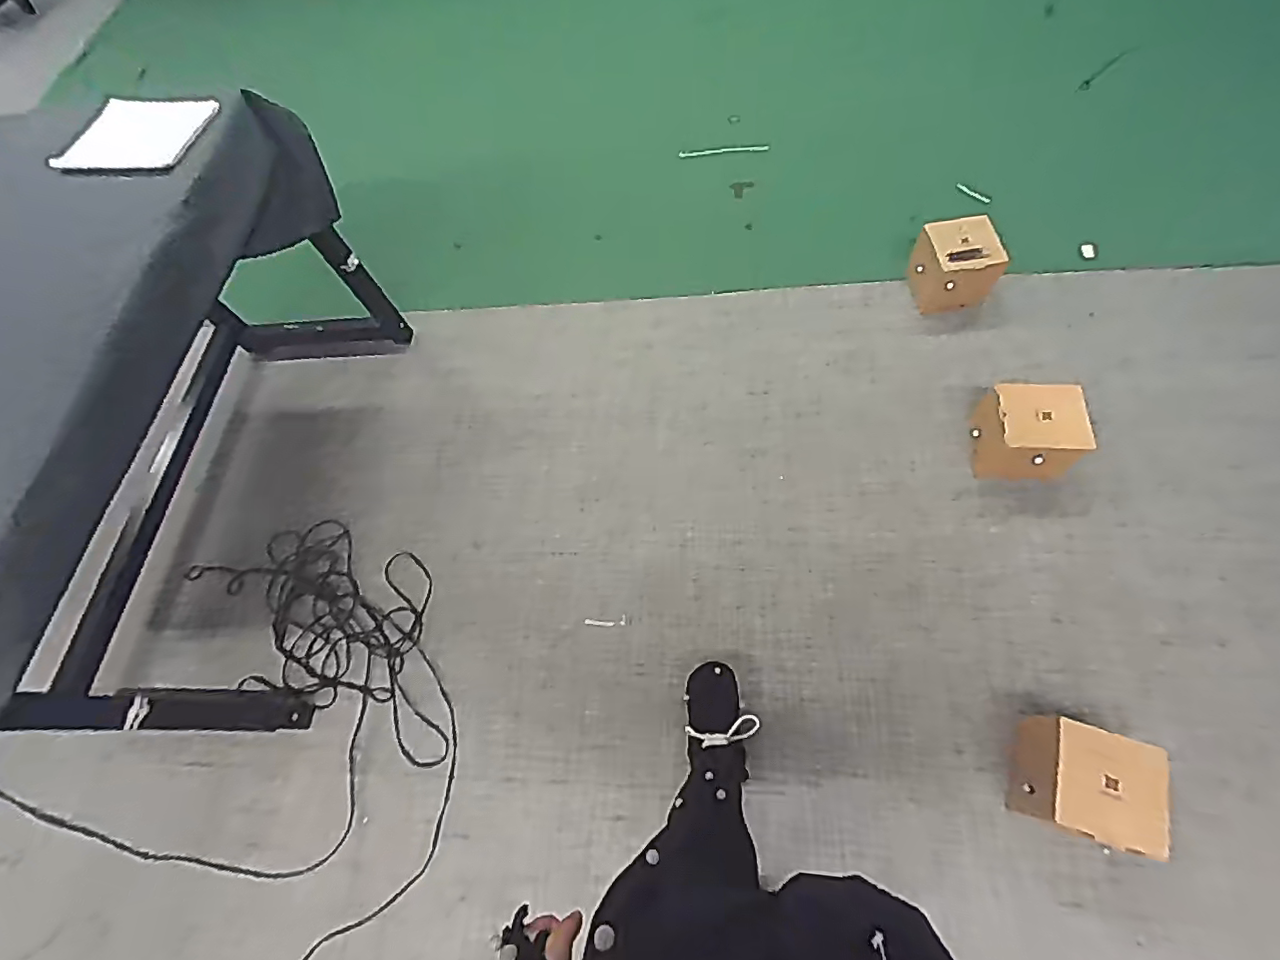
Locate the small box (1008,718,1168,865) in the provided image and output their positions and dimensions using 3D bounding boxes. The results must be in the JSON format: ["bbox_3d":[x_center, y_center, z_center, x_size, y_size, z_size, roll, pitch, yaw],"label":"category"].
[{"bbox_3d":[0.799,0.552,0.980,0.168,0.176,0.179,15,67,13],"label":"small box"}]

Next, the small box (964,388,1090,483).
[{"bbox_3d":[0.897,-0.100,1.272,0.179,0.176,0.168,2,65,10],"label":"small box"}]
